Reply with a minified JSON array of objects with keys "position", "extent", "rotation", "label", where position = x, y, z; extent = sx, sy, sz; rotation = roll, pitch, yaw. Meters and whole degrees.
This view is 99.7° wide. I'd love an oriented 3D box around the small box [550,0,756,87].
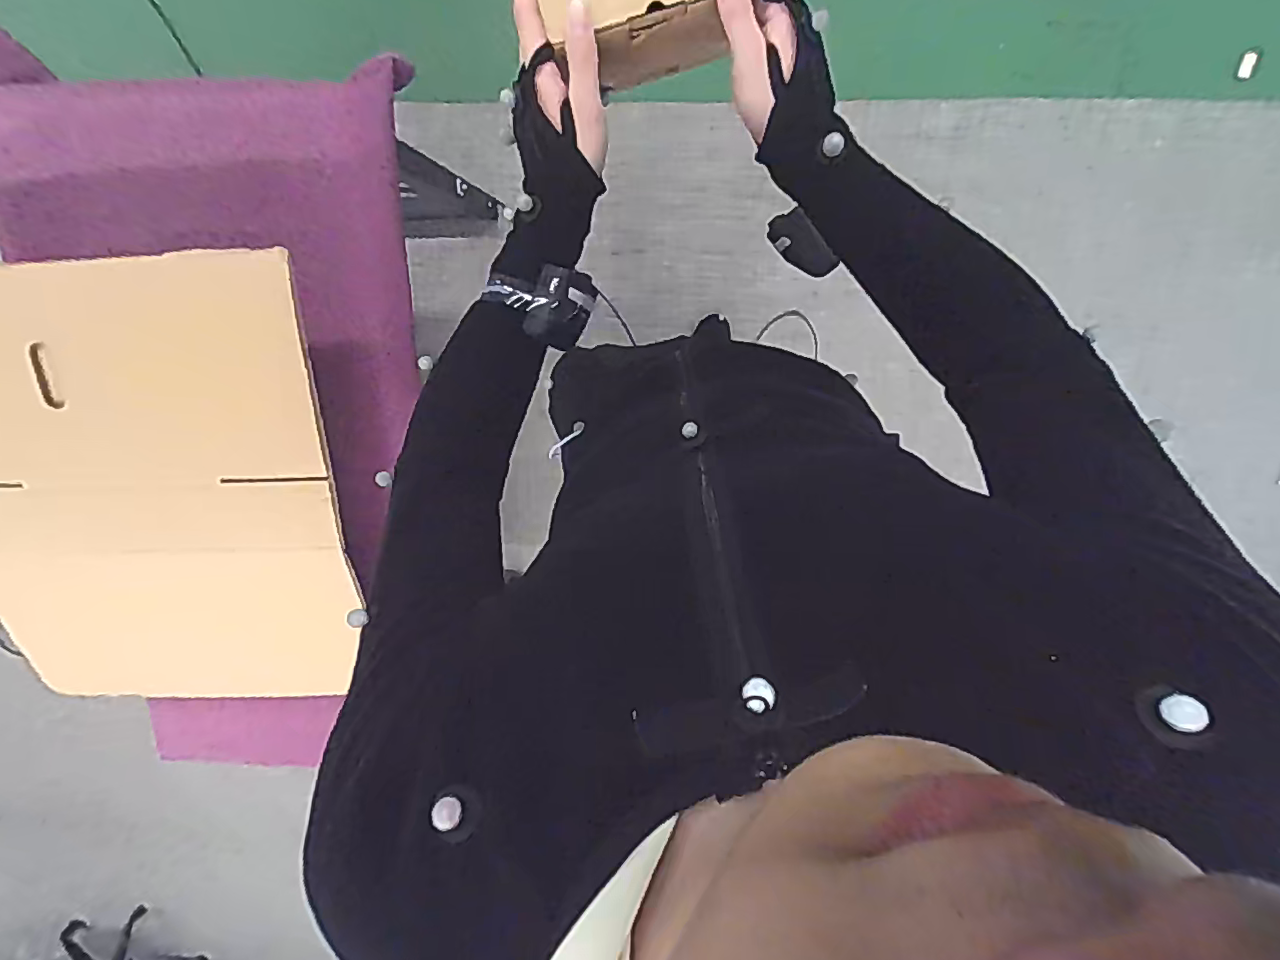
[{"position":[0.001,-0.446,0.430],"extent":[0.168,0.176,0.179],"rotation":[-14,111,4],"label":"small box"}]
